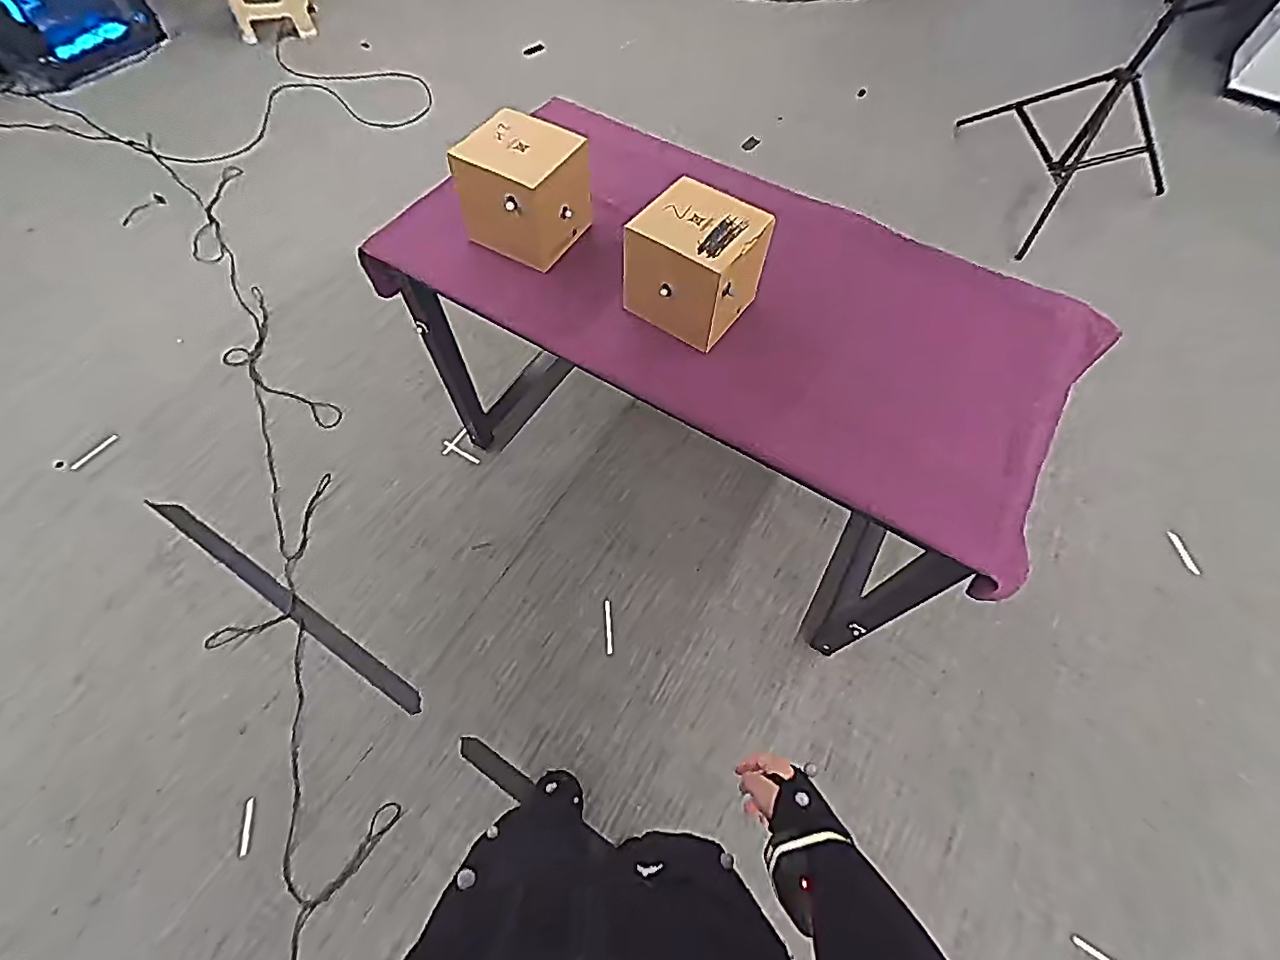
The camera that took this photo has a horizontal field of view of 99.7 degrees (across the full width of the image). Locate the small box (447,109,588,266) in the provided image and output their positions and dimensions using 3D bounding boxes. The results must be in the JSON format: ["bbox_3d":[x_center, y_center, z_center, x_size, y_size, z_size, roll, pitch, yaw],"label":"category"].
[{"bbox_3d":[-0.206,-0.516,0.971,0.179,0.176,0.168,27,63,12],"label":"small box"}]
